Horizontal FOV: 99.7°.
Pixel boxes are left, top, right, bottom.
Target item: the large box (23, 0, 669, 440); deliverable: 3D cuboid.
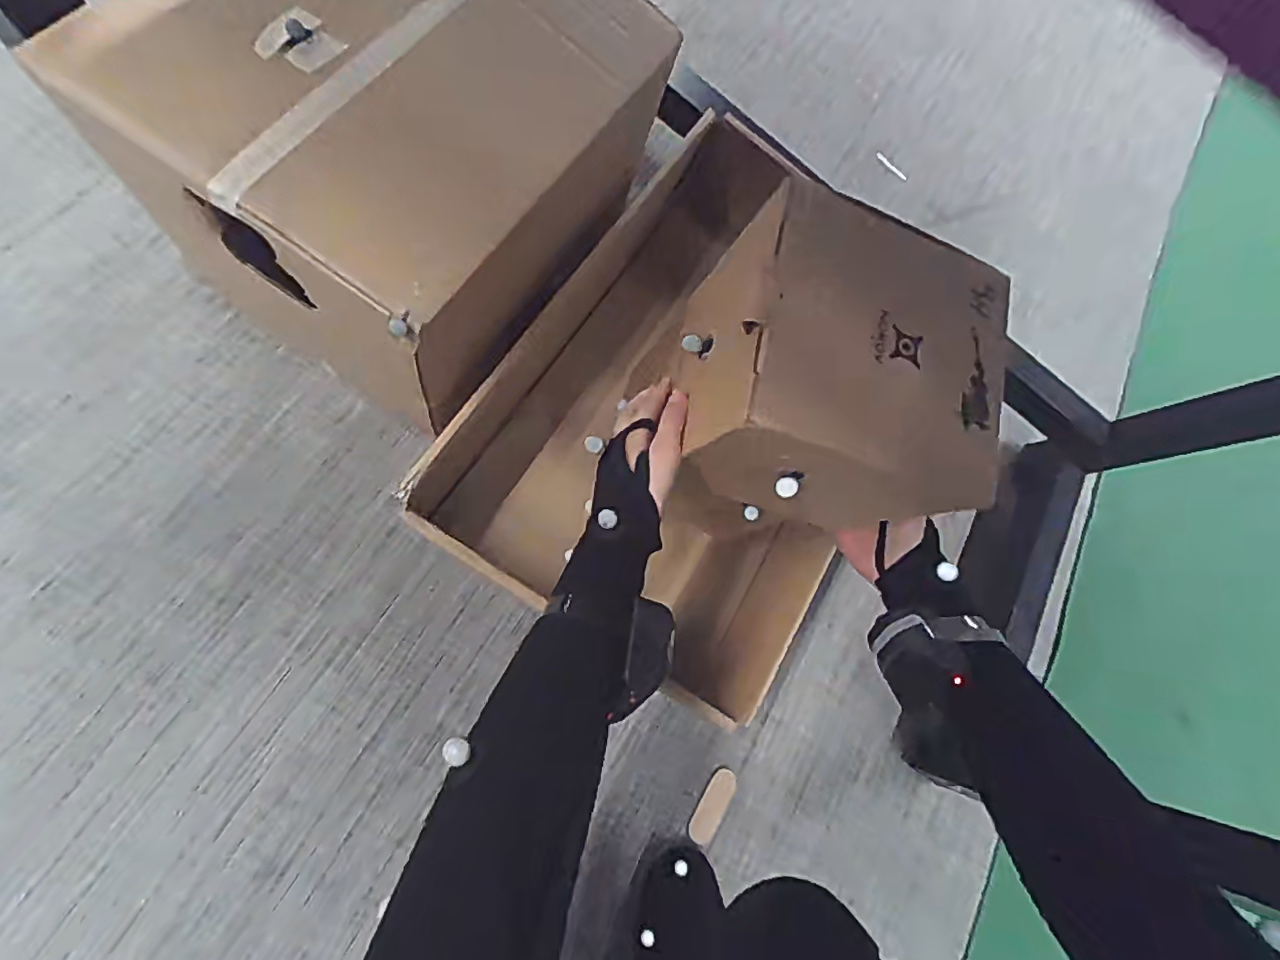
[{"bbox_3d":[-0.231,-0.316,0.577,0.320,0.320,0.408,34,72,-6],"label":"large box"}]
